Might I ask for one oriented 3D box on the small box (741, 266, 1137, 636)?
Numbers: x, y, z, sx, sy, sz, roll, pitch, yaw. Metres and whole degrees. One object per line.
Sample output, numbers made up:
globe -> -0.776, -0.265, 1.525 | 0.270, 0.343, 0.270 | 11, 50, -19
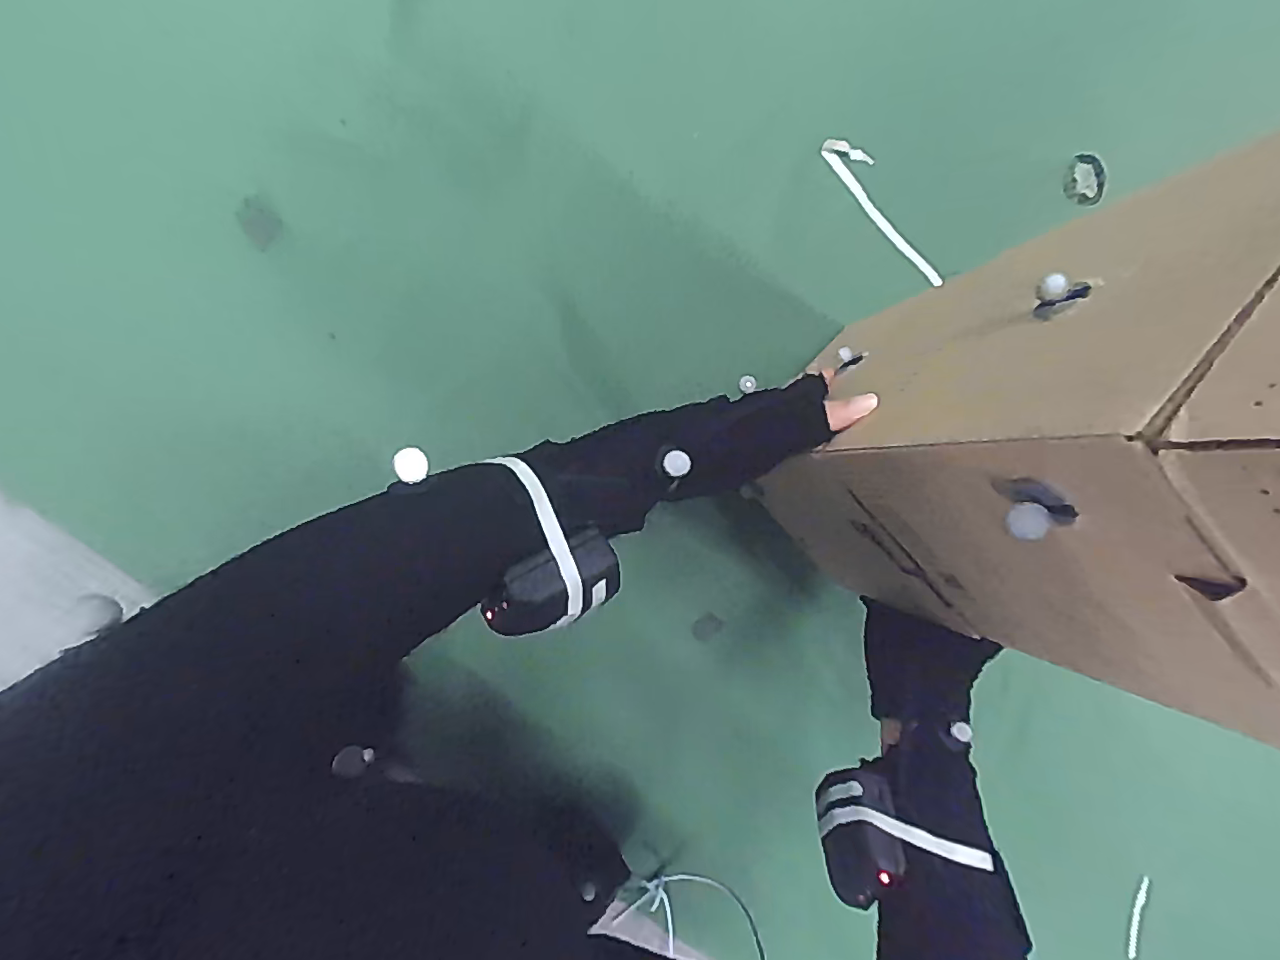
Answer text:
small box -> 0.200, -0.020, 0.416 | 0.168, 0.176, 0.179 | 44, 85, -10

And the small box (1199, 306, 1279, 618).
small box -> 0.275, -0.011, 0.097 | 0.168, 0.176, 0.179 | 44, 83, -11
